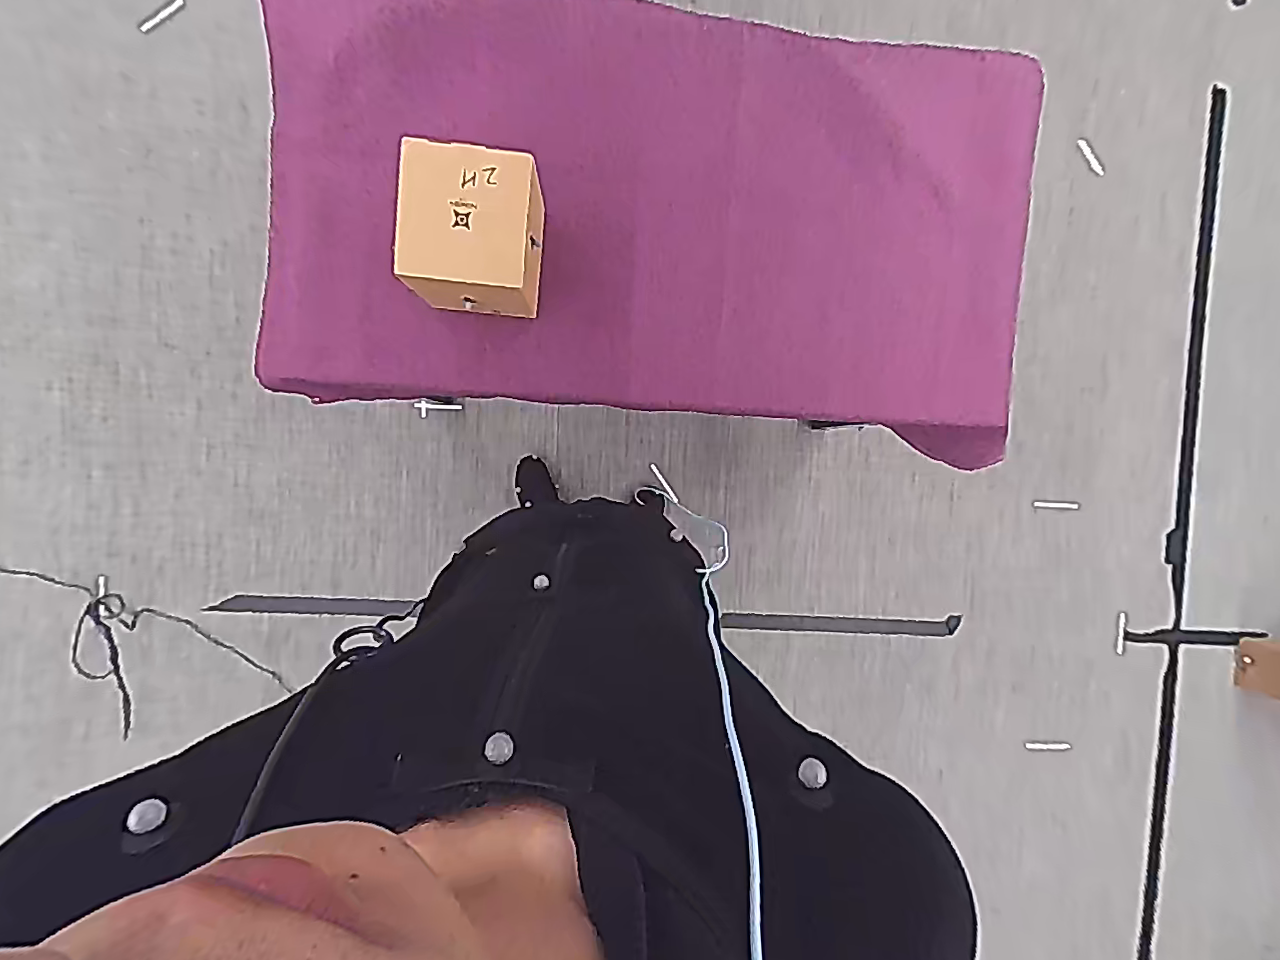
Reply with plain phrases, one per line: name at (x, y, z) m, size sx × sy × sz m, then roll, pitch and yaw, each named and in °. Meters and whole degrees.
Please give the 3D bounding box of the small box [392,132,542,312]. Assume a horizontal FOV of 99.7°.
small box at (-0.234, -0.349, 0.768) m, size 0.168 × 0.176 × 0.179 m, roll 5°, pitch 93°, yaw -5°
